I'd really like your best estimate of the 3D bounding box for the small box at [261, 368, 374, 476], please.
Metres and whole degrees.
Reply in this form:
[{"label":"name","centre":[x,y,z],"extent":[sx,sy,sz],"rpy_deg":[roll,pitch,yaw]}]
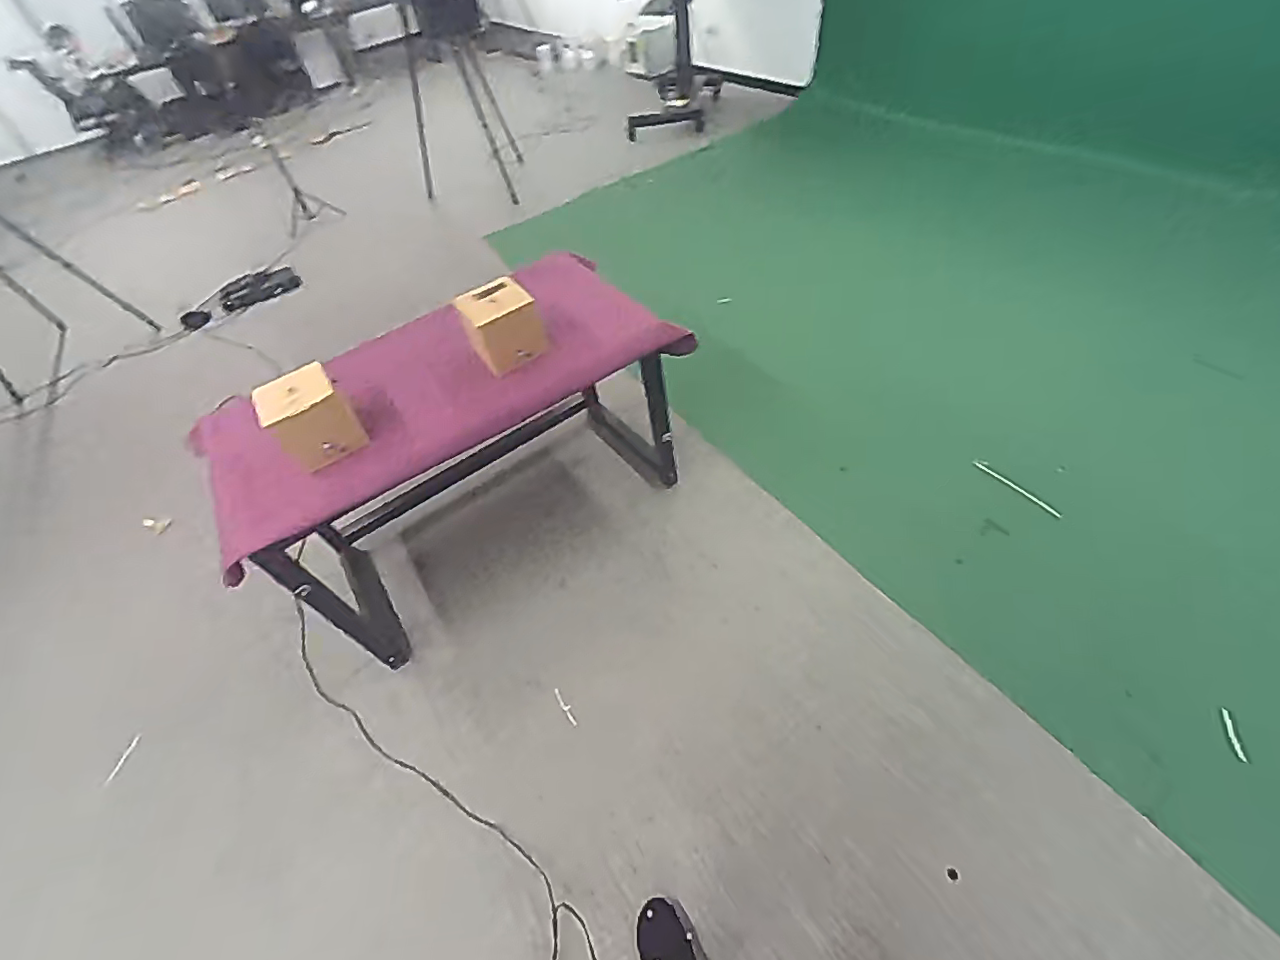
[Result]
[{"label":"small box","centre":[-0.801,-0.143,1.351],"extent":[0.168,0.176,0.179],"rpy_deg":[-32,52,-16]}]
